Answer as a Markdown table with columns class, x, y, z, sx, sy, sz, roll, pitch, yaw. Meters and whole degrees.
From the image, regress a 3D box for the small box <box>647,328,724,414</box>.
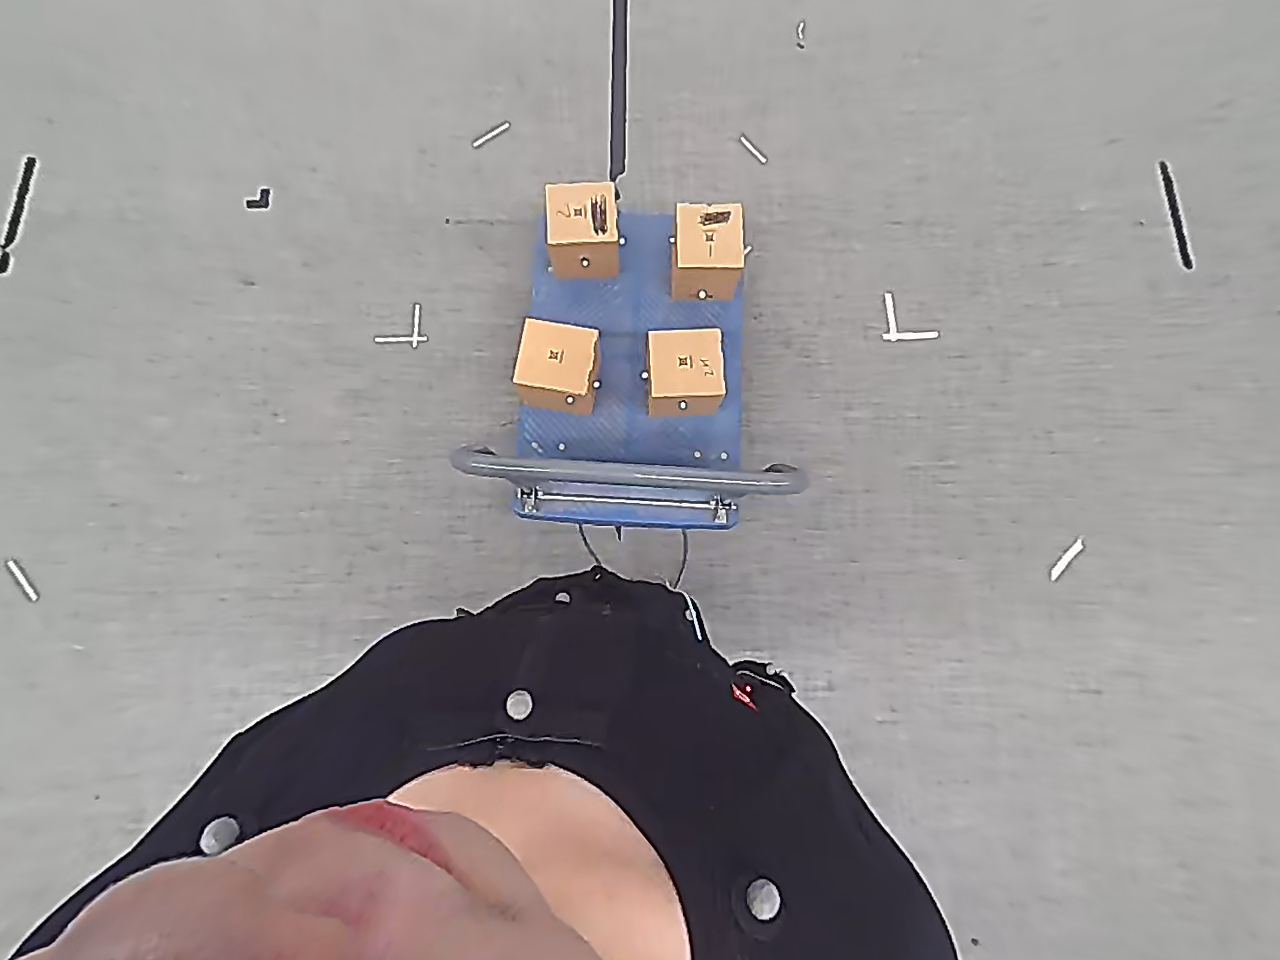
| class | x | y | z | sx | sy | sz | roll | pitch | yaw |
| --- | --- | --- | --- | --- | --- | --- | --- | --- | --- |
| small box | 0.106 | -0.267 | 1.355 | 0.179 | 0.176 | 0.168 | -2 | 80 | -2 |

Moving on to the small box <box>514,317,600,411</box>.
| class | x | y | z | sx | sy | sz | roll | pitch | yaw |
| --- | --- | --- | --- | --- | --- | --- | --- | --- | --- |
| small box | -0.199 | -0.282 | 1.351 | 0.179 | 0.176 | 0.168 | 9 | 79 | -1 |

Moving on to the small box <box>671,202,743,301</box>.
| class | x | y | z | sx | sy | sz | roll | pitch | yaw |
| --- | --- | --- | --- | --- | --- | --- | --- | --- | --- |
| small box | 0.170 | -0.593 | 1.415 | 0.168 | 0.176 | 0.179 | 0 | 81 | -1 |
